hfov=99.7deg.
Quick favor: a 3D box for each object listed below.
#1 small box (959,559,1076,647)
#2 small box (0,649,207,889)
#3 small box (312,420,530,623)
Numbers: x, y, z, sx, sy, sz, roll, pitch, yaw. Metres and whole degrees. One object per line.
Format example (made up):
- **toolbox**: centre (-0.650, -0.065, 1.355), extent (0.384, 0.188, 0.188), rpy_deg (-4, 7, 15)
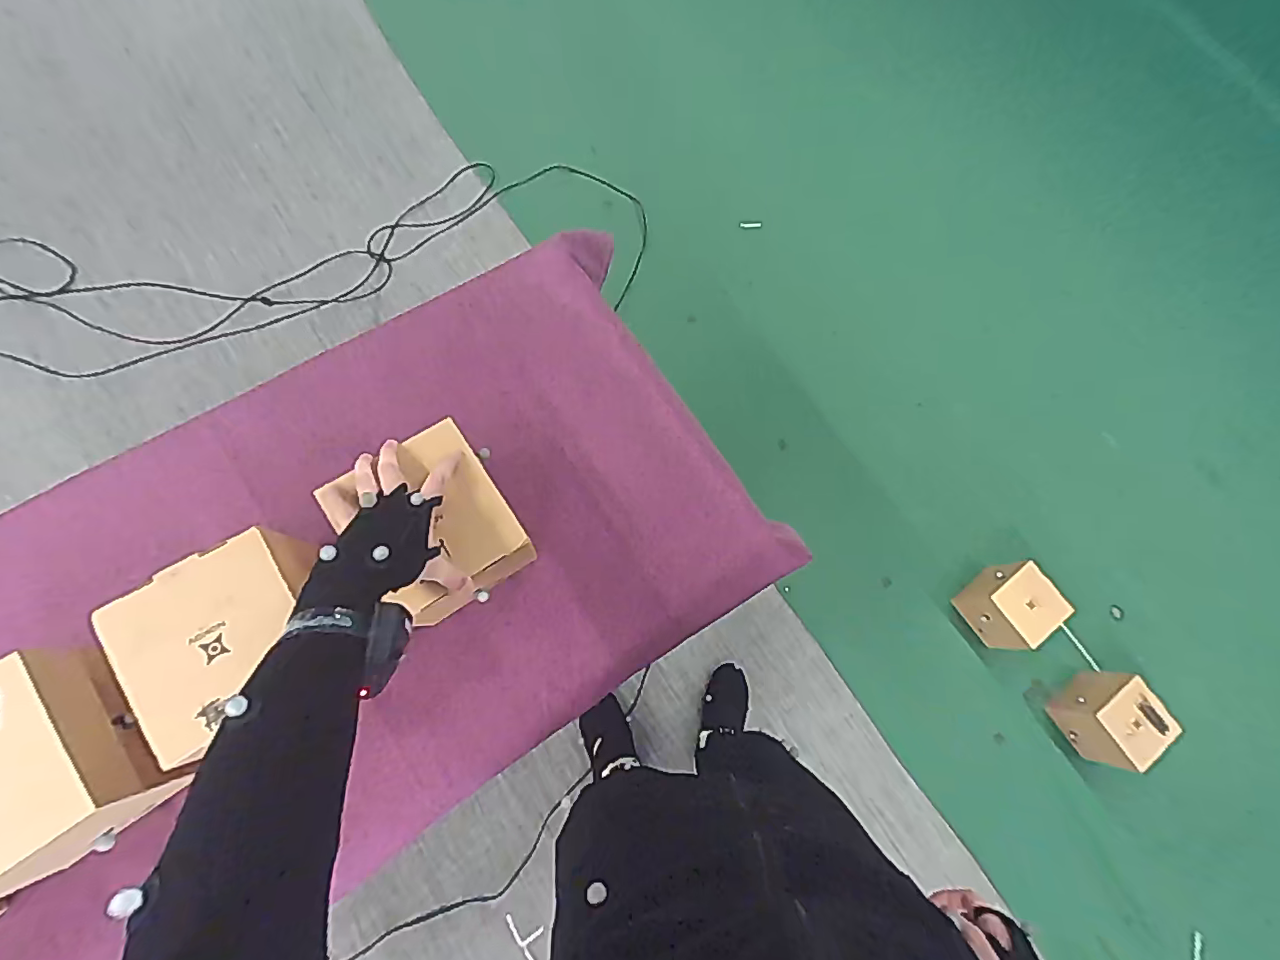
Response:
- **small box**: centre (1.022, 0.342, 1.488), extent (0.179, 0.176, 0.168), rpy_deg (-34, 80, -15)
- **small box**: centre (-0.619, 0.297, 0.565), extent (0.168, 0.176, 0.179), rpy_deg (-34, 82, -14)
- **small box**: centre (-0.253, 0.060, 0.668), extent (0.168, 0.176, 0.179), rpy_deg (-33, 82, -13)
